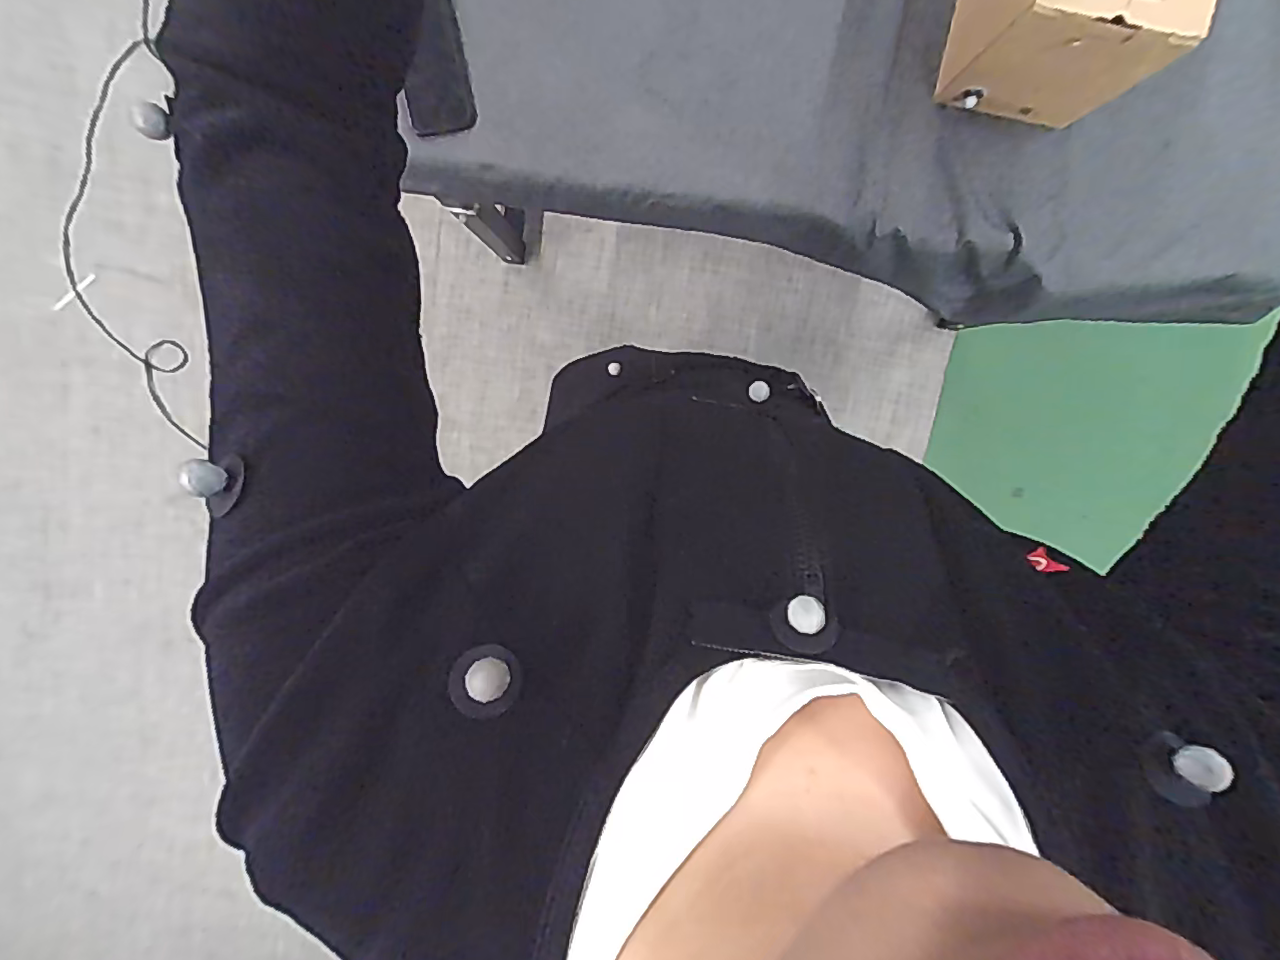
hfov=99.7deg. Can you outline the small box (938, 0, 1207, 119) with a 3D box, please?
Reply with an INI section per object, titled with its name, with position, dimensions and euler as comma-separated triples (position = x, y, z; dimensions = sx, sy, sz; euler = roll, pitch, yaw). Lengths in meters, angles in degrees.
[small box]
position = 0.447, -0.517, 0.563
dimensions = 0.168, 0.176, 0.179
euler = 10, 99, -3
